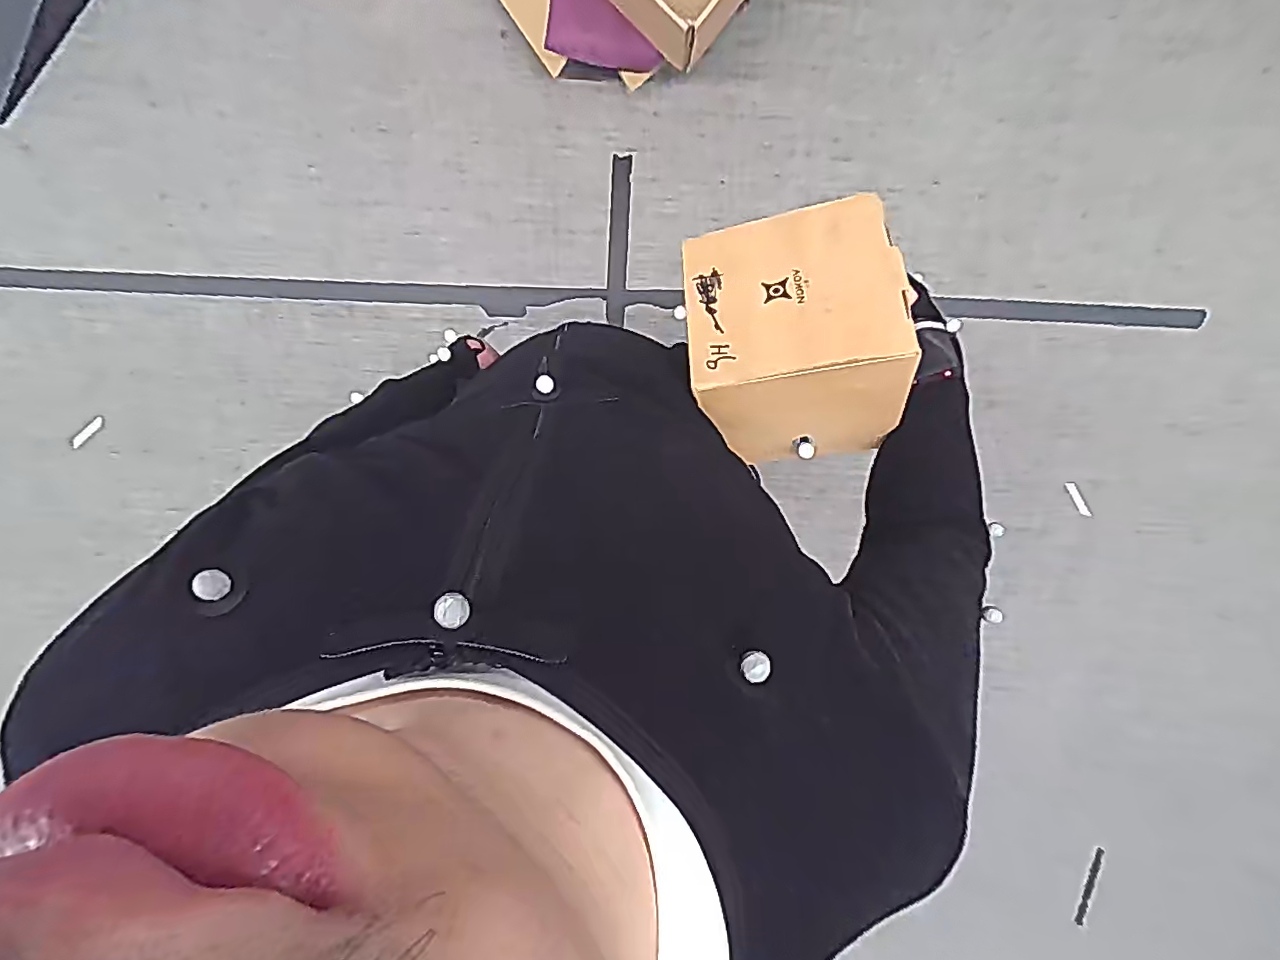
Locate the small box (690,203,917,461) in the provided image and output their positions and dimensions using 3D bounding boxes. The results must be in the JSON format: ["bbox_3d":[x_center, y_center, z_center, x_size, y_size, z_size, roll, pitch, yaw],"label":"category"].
[{"bbox_3d":[0.153,-0.132,0.540,0.179,0.176,0.168,-7,66,15],"label":"small box"}]
